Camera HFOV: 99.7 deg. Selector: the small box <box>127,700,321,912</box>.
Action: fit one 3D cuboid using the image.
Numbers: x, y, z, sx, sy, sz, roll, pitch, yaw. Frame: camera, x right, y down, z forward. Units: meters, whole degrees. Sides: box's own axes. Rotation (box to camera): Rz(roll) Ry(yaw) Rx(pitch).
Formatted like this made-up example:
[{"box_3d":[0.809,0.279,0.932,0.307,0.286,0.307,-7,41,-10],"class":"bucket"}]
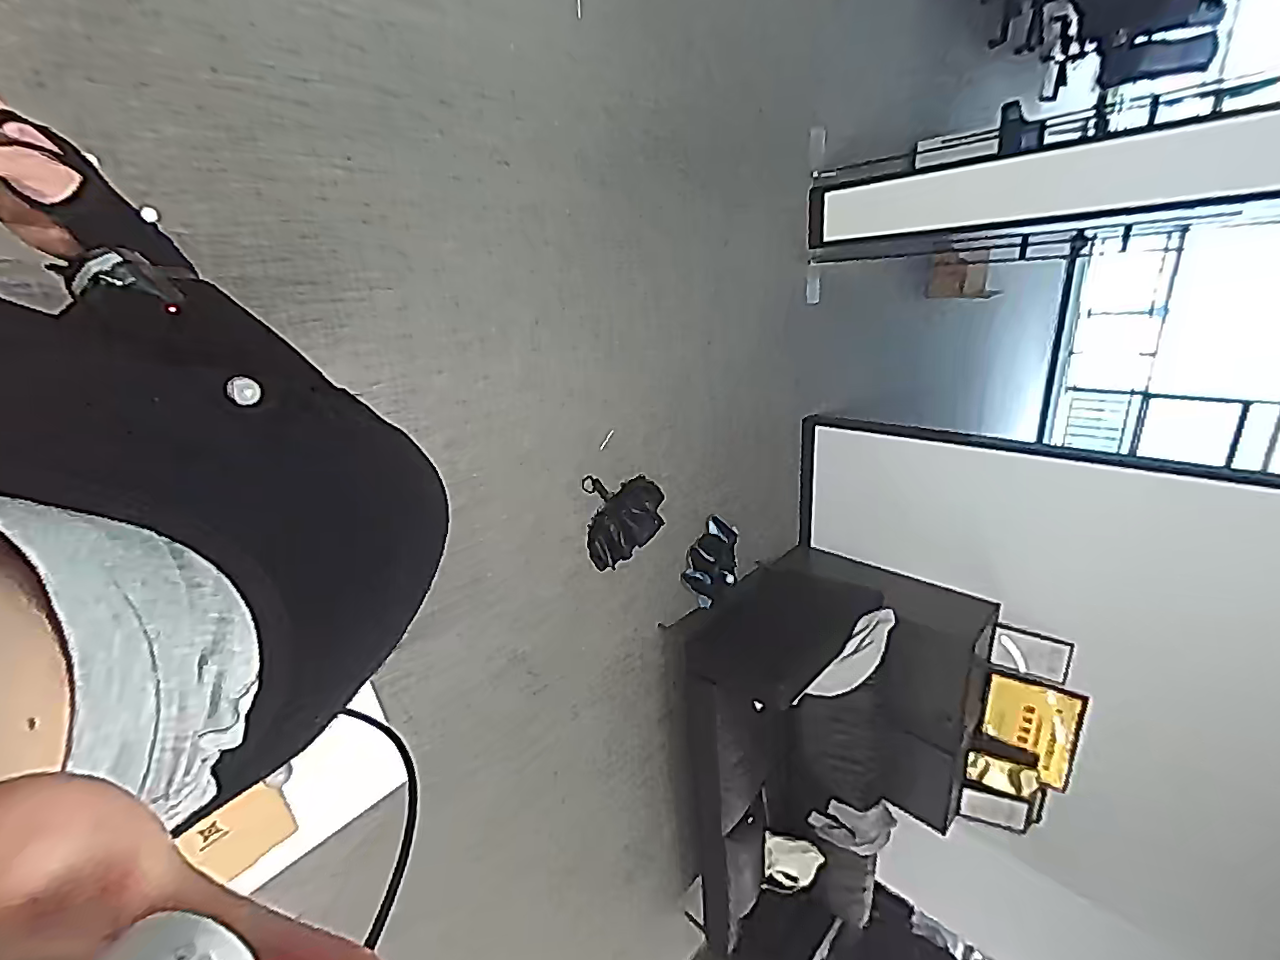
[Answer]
[{"box_3d":[-0.616,0.470,0.806,0.168,0.176,0.179,-31,123,-37],"class":"small box"}]
